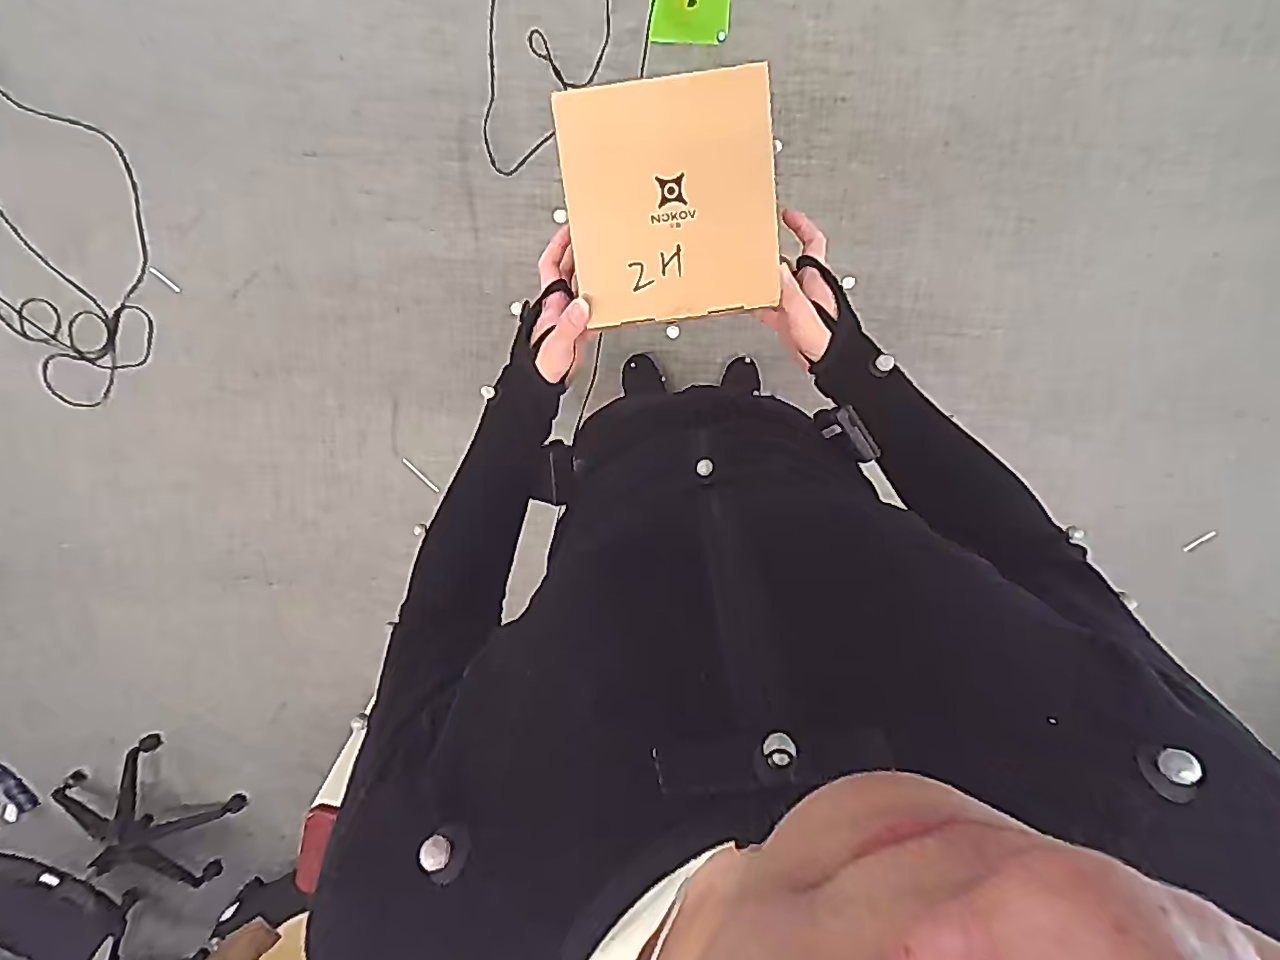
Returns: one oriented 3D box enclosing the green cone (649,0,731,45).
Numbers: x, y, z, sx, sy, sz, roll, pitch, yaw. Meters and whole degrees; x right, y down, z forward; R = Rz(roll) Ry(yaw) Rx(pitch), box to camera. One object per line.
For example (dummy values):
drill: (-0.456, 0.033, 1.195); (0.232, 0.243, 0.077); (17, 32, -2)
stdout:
green cone: (0.120, -1.149, 1.164); (0.202, 0.368, 0.200); (3, 104, 1)

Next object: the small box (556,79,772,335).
small box: (0.022, -0.236, 0.514); (0.168, 0.176, 0.179); (-6, 104, 2)
